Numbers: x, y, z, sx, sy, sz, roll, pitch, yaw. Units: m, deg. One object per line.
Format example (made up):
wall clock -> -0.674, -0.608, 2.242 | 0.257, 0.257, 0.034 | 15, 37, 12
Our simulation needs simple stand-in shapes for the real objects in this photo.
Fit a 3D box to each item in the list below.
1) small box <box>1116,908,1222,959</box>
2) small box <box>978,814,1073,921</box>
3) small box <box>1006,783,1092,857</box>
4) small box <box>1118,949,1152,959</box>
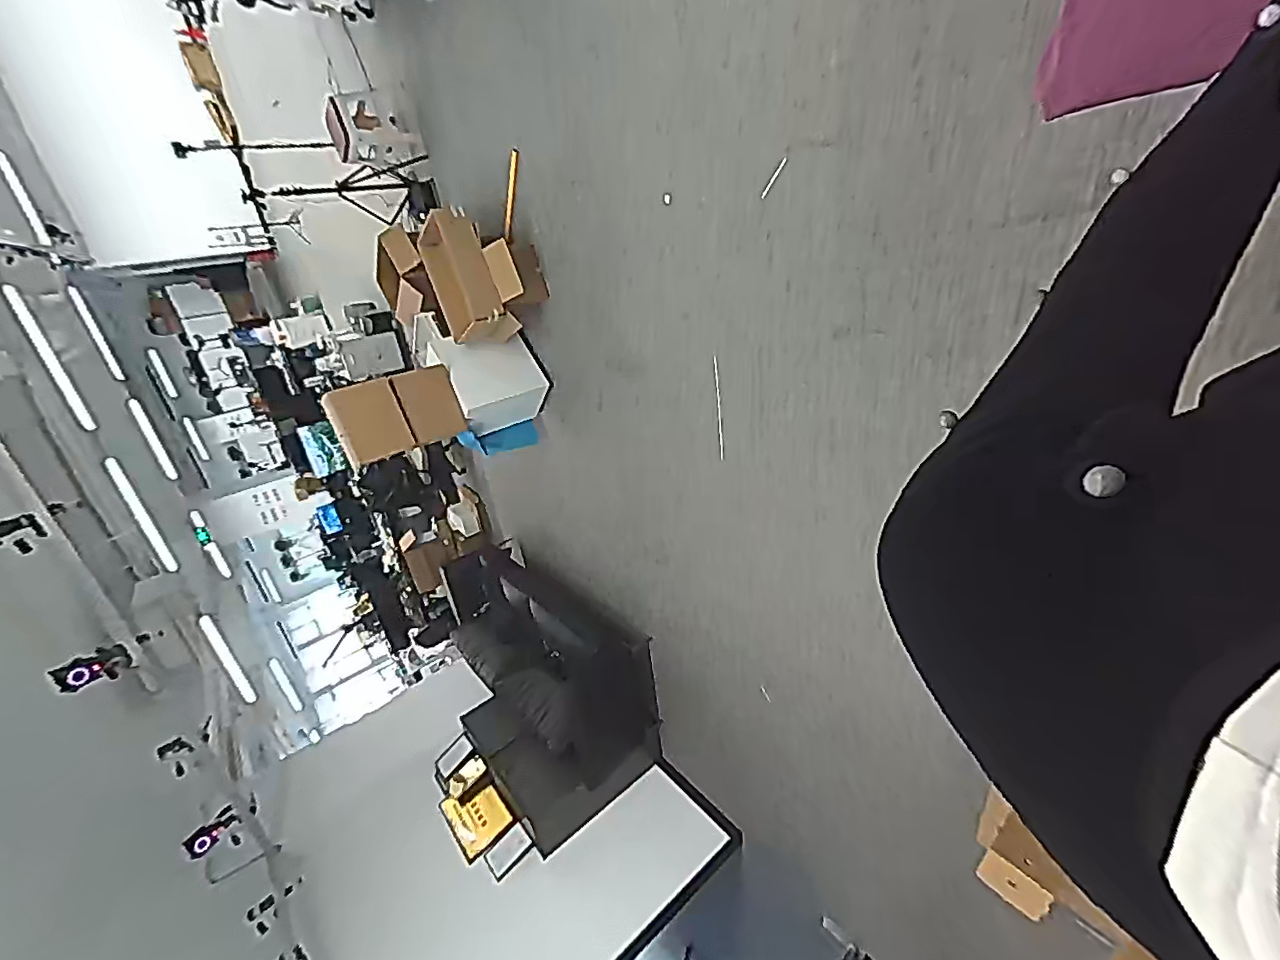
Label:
small box -> 1.558, 1.423, 1.598 | 0.179, 0.176, 0.168 | 25, 131, 45
small box -> 1.192, 1.188, 1.668 | 0.179, 0.176, 0.168 | 29, 133, 42
small box -> 1.316, 1.126, 1.754 | 0.179, 0.176, 0.168 | 27, 132, 44
small box -> 1.430, 1.479, 1.516 | 0.179, 0.176, 0.168 | 25, 130, 45
